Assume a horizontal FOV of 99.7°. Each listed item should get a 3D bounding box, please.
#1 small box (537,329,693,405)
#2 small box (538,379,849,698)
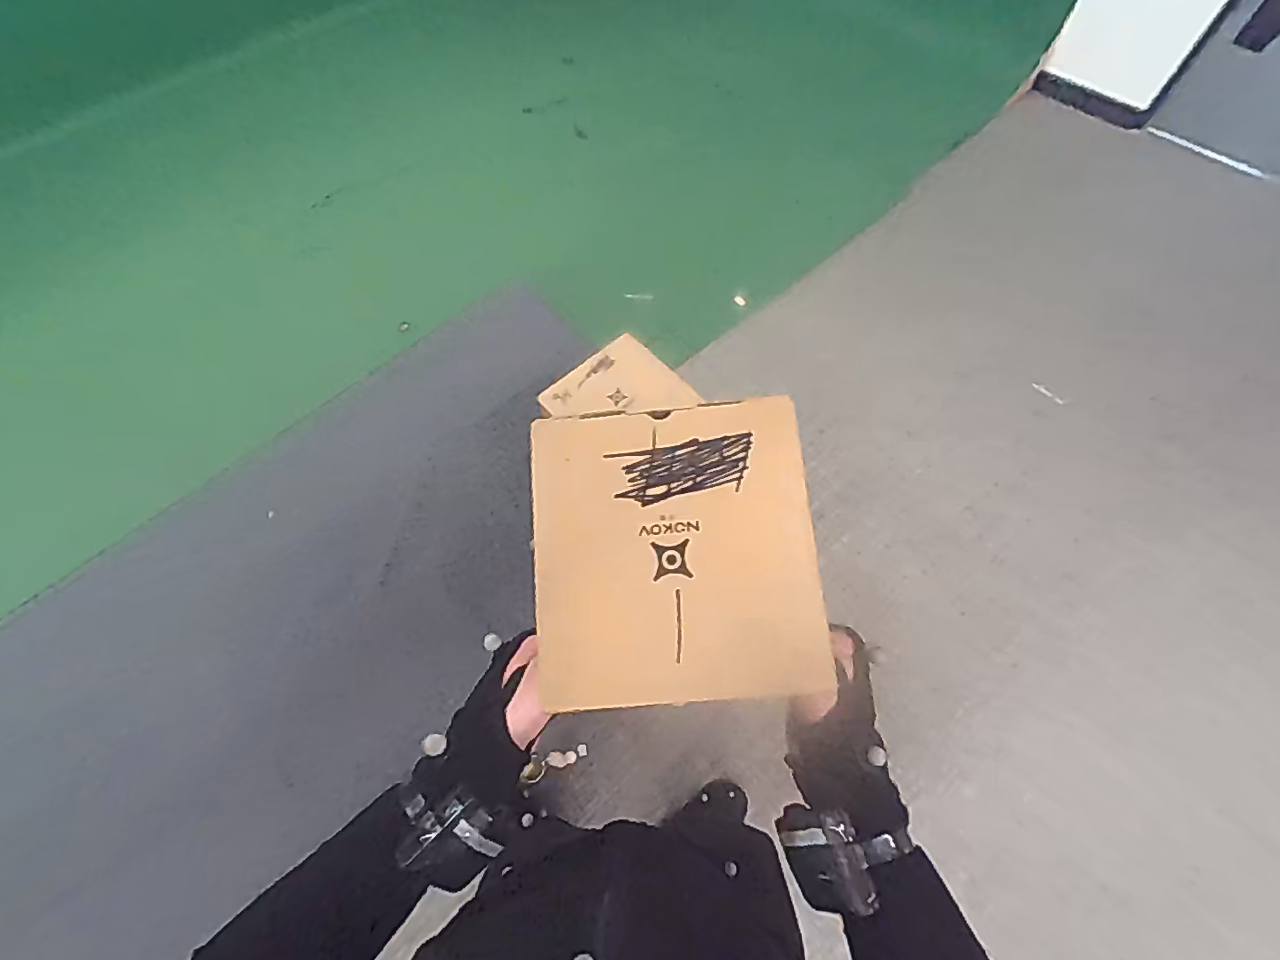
[{"bbox_3d":[-0.019,-0.075,0.789,0.168,0.176,0.179,-38,68,-12],"label":"small box"},{"bbox_3d":[0.028,0.049,0.382,0.168,0.176,0.179,-5,75,3],"label":"small box"}]
